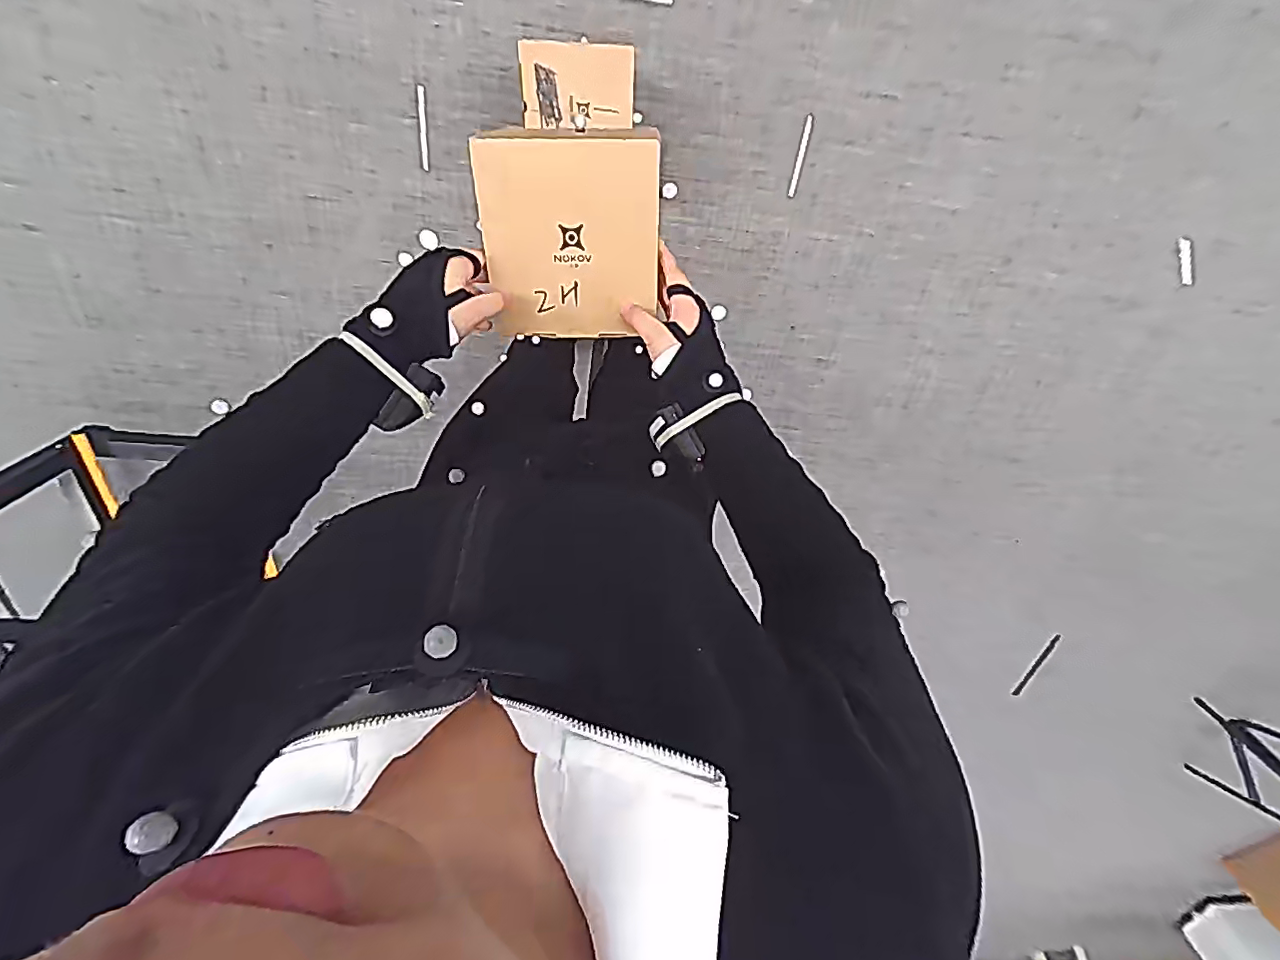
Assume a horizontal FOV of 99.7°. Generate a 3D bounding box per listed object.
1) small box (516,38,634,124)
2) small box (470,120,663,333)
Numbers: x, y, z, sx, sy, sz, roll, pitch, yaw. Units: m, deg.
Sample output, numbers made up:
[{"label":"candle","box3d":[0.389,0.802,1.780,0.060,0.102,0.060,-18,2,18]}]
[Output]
[{"label":"small box","box3d":[-0.102,-0.620,0.908,0.179,0.176,0.168,1,123,-3]},{"label":"small box","box3d":[-0.065,-0.268,0.566,0.168,0.176,0.179,1,127,0]}]
